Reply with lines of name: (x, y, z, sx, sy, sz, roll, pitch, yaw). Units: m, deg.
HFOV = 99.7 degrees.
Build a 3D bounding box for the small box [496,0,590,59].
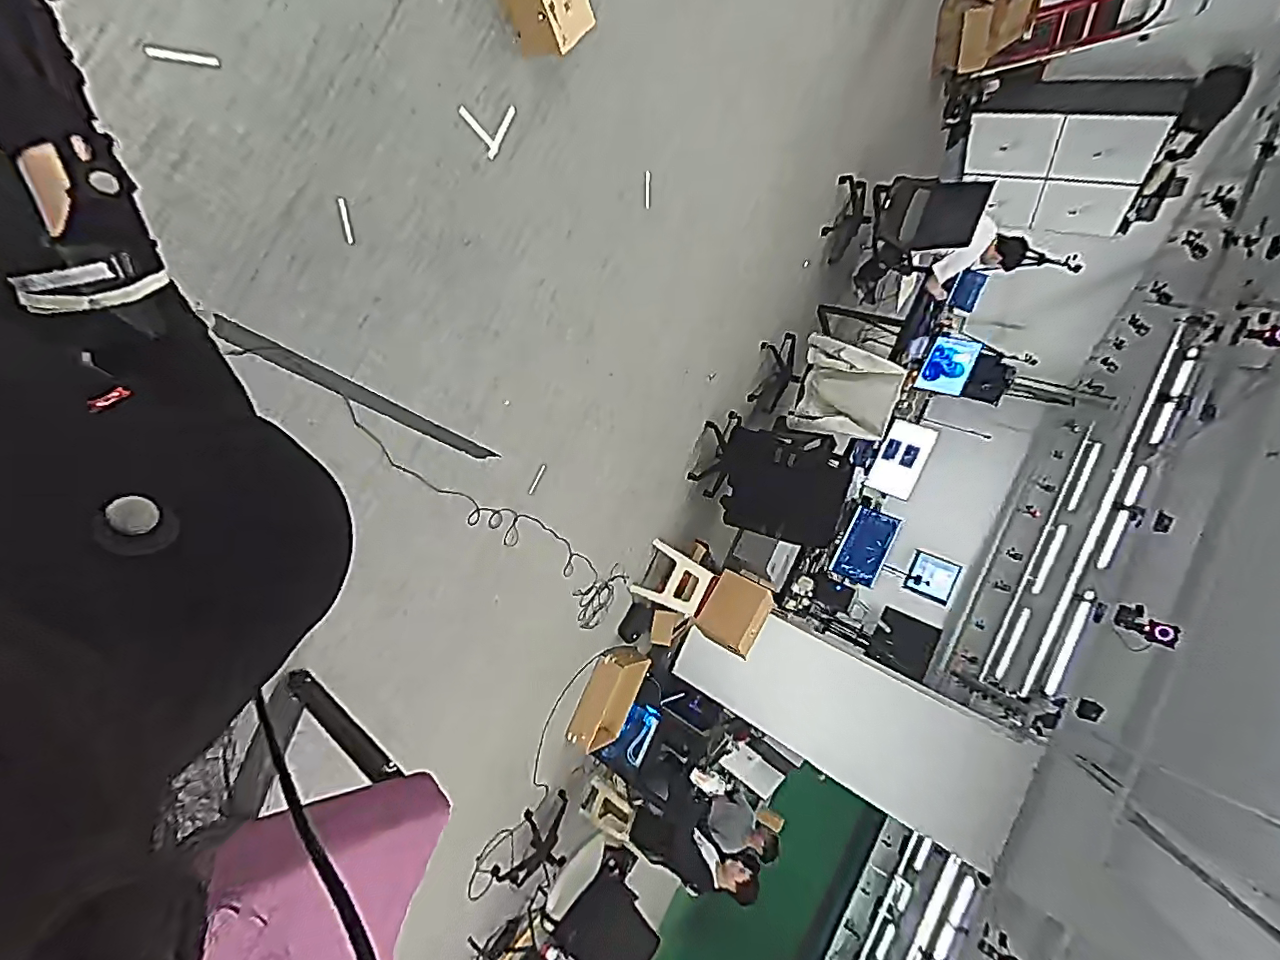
small box: (-0.279, -1.353, 1.557, 0.179, 0.176, 0.168, -56, 150, -18)
